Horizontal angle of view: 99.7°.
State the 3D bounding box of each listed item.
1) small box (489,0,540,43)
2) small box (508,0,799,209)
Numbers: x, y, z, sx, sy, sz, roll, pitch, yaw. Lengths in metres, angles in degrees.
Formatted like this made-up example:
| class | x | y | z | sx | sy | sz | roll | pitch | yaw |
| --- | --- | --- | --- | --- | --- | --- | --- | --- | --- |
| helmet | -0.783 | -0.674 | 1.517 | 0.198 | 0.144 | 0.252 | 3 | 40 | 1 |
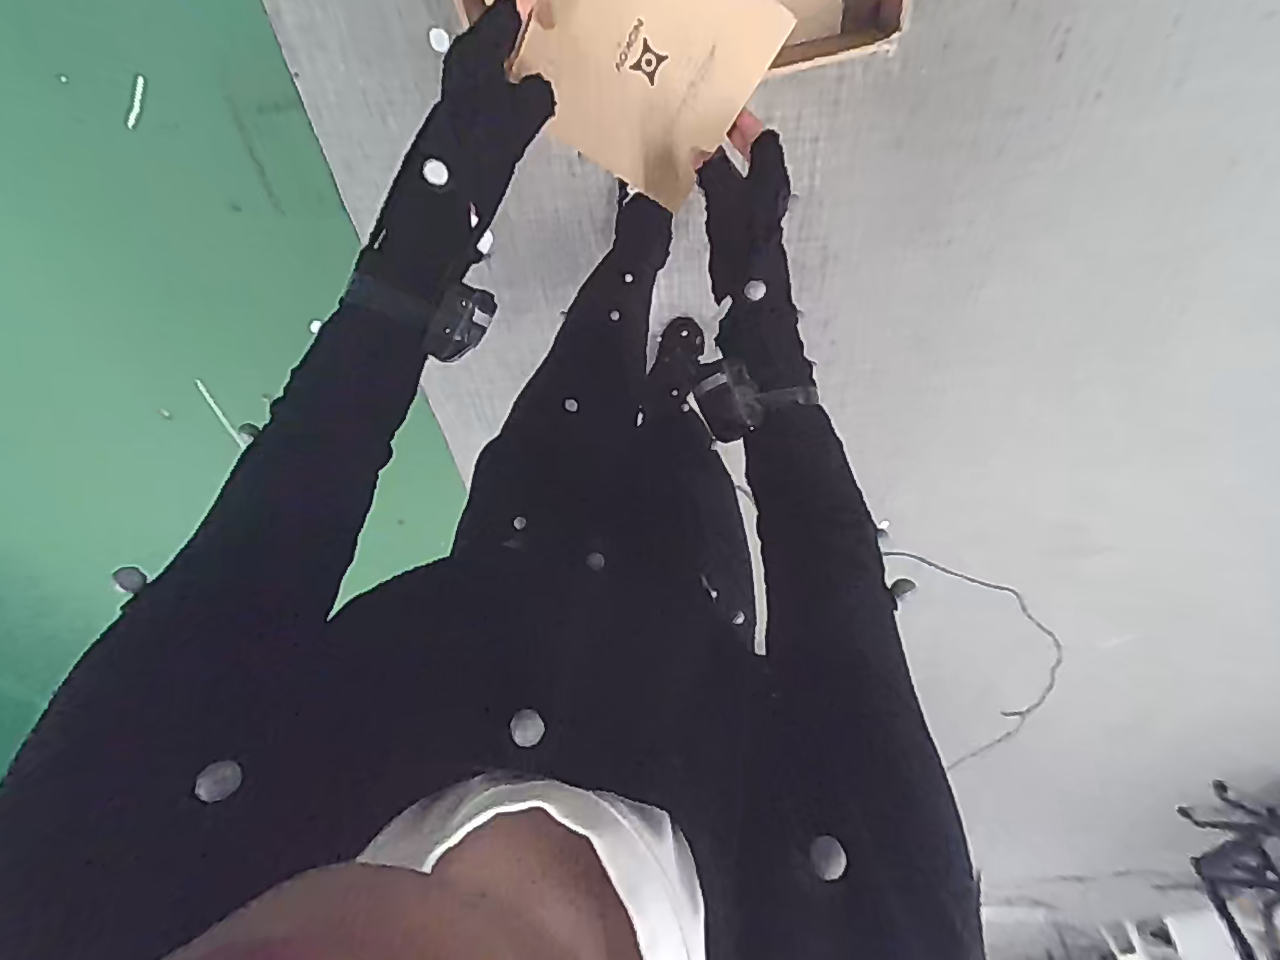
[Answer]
| class | x | y | z | sx | sy | sz | roll | pitch | yaw |
| --- | --- | --- | --- | --- | --- | --- | --- | --- | --- |
| small box | -0.126 | -0.746 | 0.759 | 0.179 | 0.176 | 0.168 | -8 | 130 | 12 |
| small box | 0.002 | -0.386 | 0.479 | 0.179 | 0.176 | 0.168 | 20 | 132 | -26 |
